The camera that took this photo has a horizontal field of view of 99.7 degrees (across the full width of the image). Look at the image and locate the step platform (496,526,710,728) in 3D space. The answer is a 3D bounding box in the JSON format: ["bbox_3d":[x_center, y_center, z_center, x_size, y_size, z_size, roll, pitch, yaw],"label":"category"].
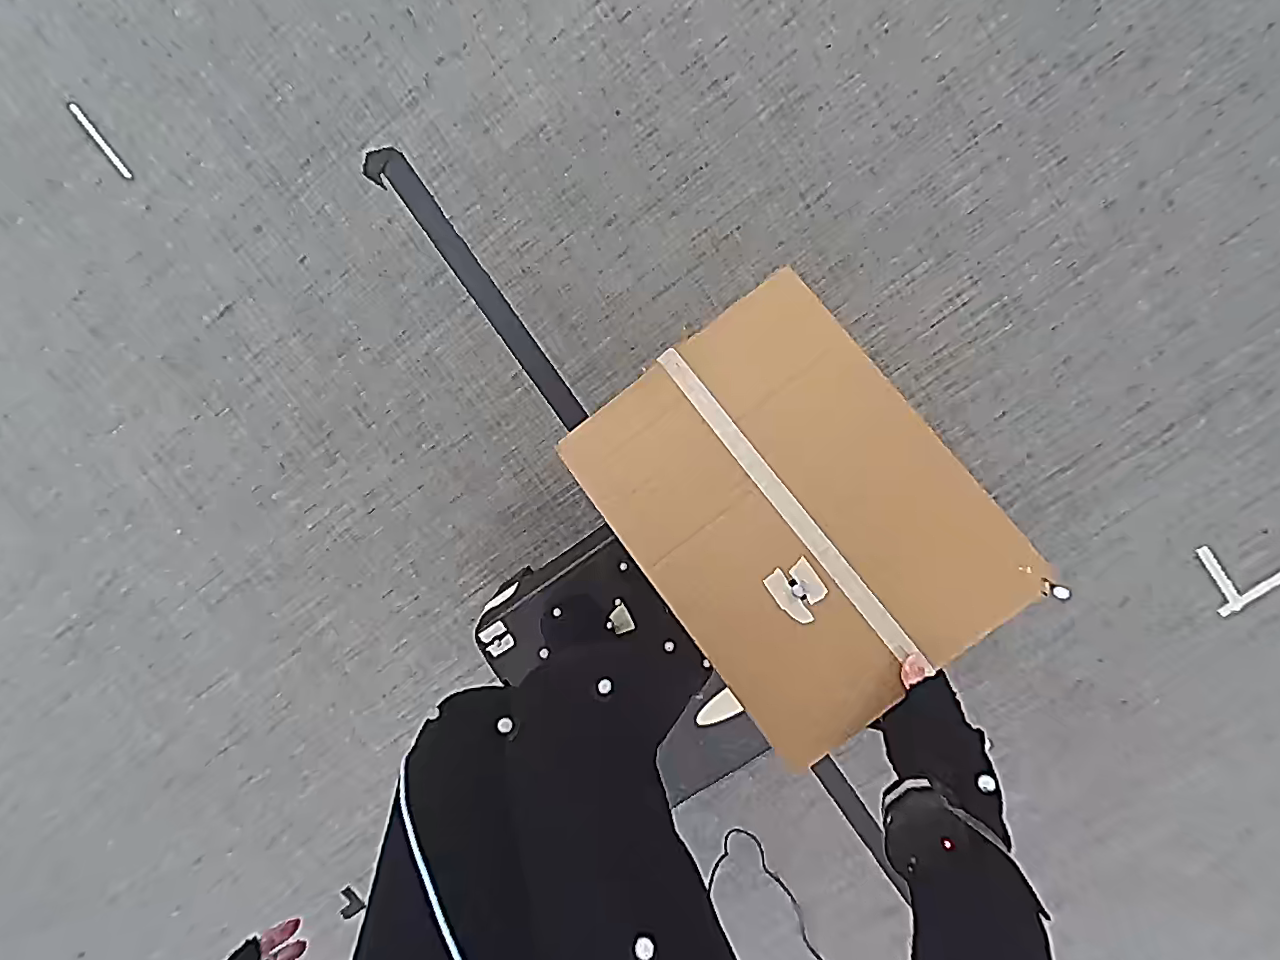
[{"bbox_3d":[0.070,0.155,1.004,0.684,0.204,0.286,-37,97,8],"label":"step platform"}]

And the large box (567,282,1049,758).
[{"bbox_3d":[0.173,0.043,0.701,0.320,0.320,0.408,-38,82,4],"label":"large box"}]
